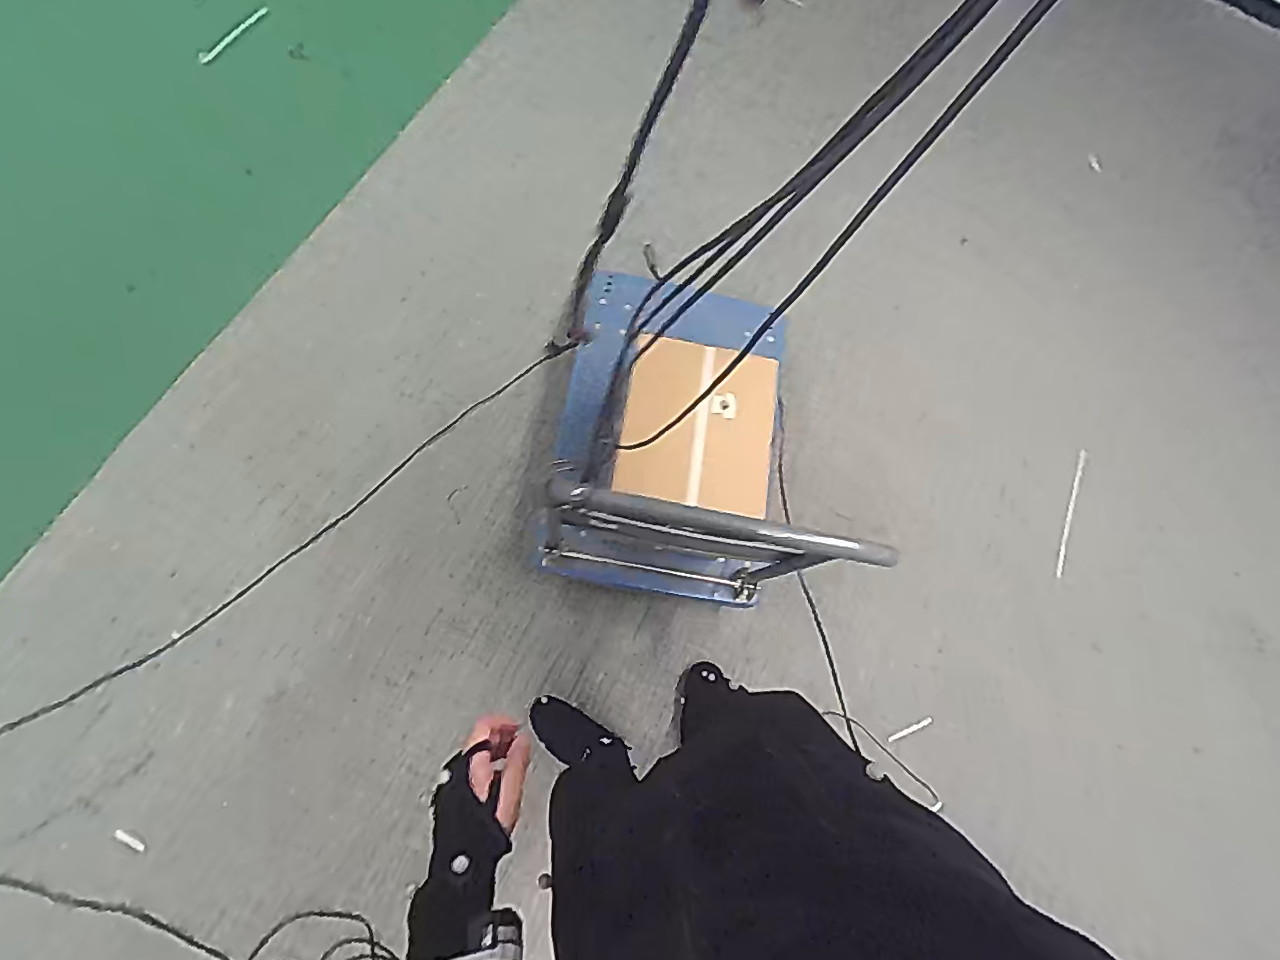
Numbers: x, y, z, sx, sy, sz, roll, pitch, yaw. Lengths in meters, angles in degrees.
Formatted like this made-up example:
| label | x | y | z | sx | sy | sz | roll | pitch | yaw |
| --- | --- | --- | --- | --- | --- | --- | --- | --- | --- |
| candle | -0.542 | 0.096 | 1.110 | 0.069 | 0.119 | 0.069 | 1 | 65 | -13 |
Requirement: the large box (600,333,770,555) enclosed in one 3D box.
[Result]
| label | x | y | z | sx | sy | sz | roll | pitch | yaw |
| --- | --- | --- | --- | --- | --- | --- | --- | --- | --- |
| large box | 0.090 | -0.062 | 1.251 | 0.320 | 0.320 | 0.408 | 11 | 72 | -5 |
